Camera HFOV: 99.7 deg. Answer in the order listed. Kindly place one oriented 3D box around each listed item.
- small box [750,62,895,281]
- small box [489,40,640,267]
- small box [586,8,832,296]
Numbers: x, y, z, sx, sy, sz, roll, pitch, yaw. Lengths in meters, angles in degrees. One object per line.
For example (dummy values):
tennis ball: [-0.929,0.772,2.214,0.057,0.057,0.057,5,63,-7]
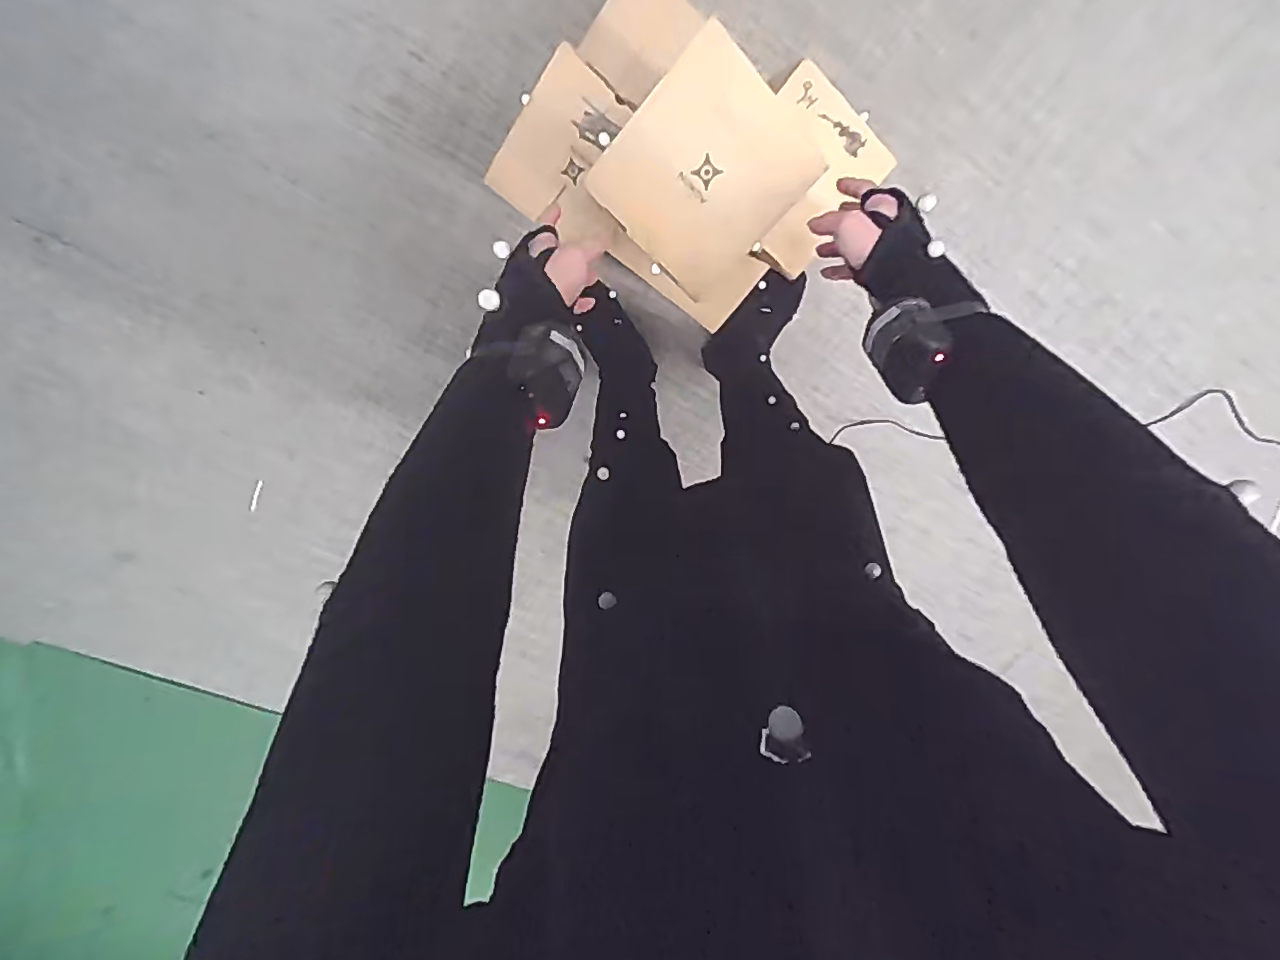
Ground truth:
small box: [0.194,-0.402,0.728,0.168,0.176,0.179,35,112,-18]
small box: [-0.069,-0.418,0.711,0.168,0.176,0.179,36,115,-19]
small box: [0.063,-0.330,0.576,0.168,0.176,0.179,39,110,-21]
